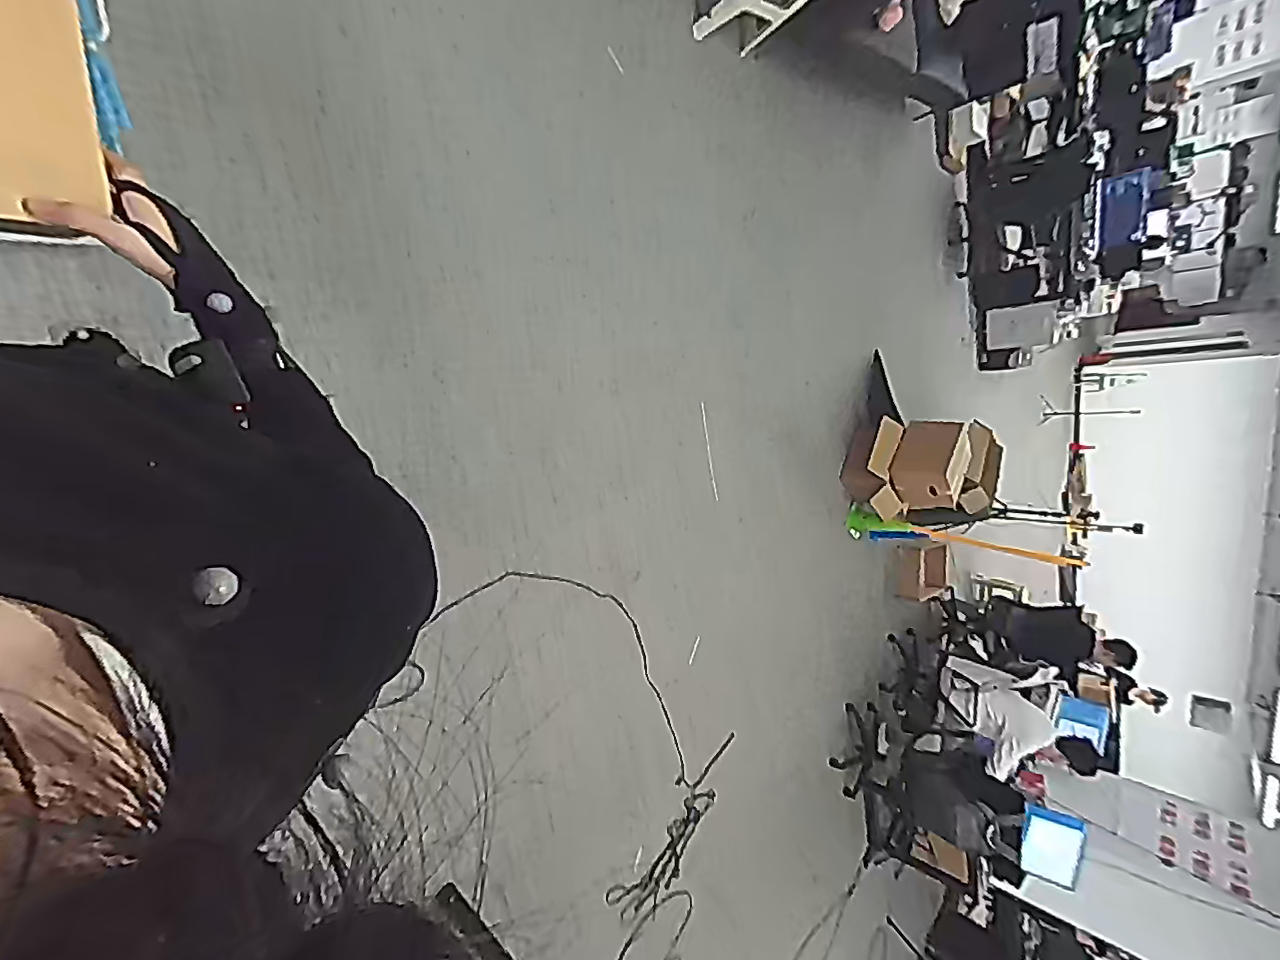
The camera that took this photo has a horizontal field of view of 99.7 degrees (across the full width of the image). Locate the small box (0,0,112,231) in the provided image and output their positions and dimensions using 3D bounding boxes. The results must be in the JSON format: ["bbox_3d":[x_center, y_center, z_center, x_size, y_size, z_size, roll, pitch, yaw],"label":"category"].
[{"bbox_3d":[-0.507,-0.280,0.374,0.168,0.176,0.179,-17,115,-51],"label":"small box"}]
